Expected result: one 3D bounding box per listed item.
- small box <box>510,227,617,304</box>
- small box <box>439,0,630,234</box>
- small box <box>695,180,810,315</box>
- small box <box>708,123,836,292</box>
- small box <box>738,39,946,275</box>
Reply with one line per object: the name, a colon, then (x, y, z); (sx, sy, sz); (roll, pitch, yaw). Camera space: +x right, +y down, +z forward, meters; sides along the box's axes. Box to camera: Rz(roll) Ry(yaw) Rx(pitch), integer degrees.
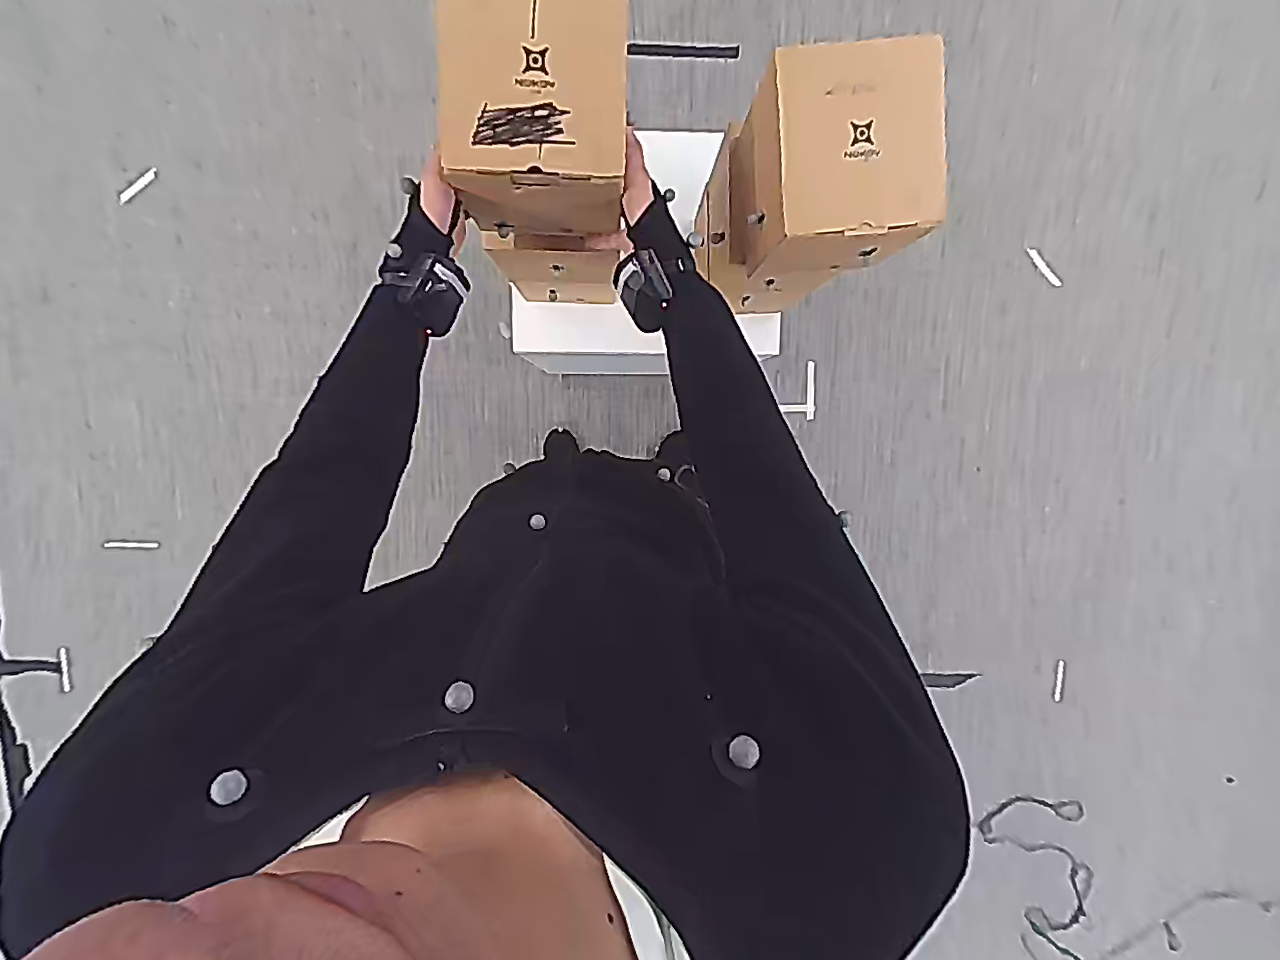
small box: (-0.122, -0.403, 0.915); (0.168, 0.176, 0.179); (1, 96, -3)
small box: (-0.097, -0.367, 0.553); (0.168, 0.176, 0.179); (1, 97, -5)
small box: (0.186, -0.390, 0.928); (0.168, 0.176, 0.179); (-2, 97, -1)
small box: (0.191, -0.370, 0.764); (0.168, 0.176, 0.179); (-1, 97, -1)
small box: (0.212, -0.338, 0.604); (0.168, 0.176, 0.179); (-7, 97, -2)
